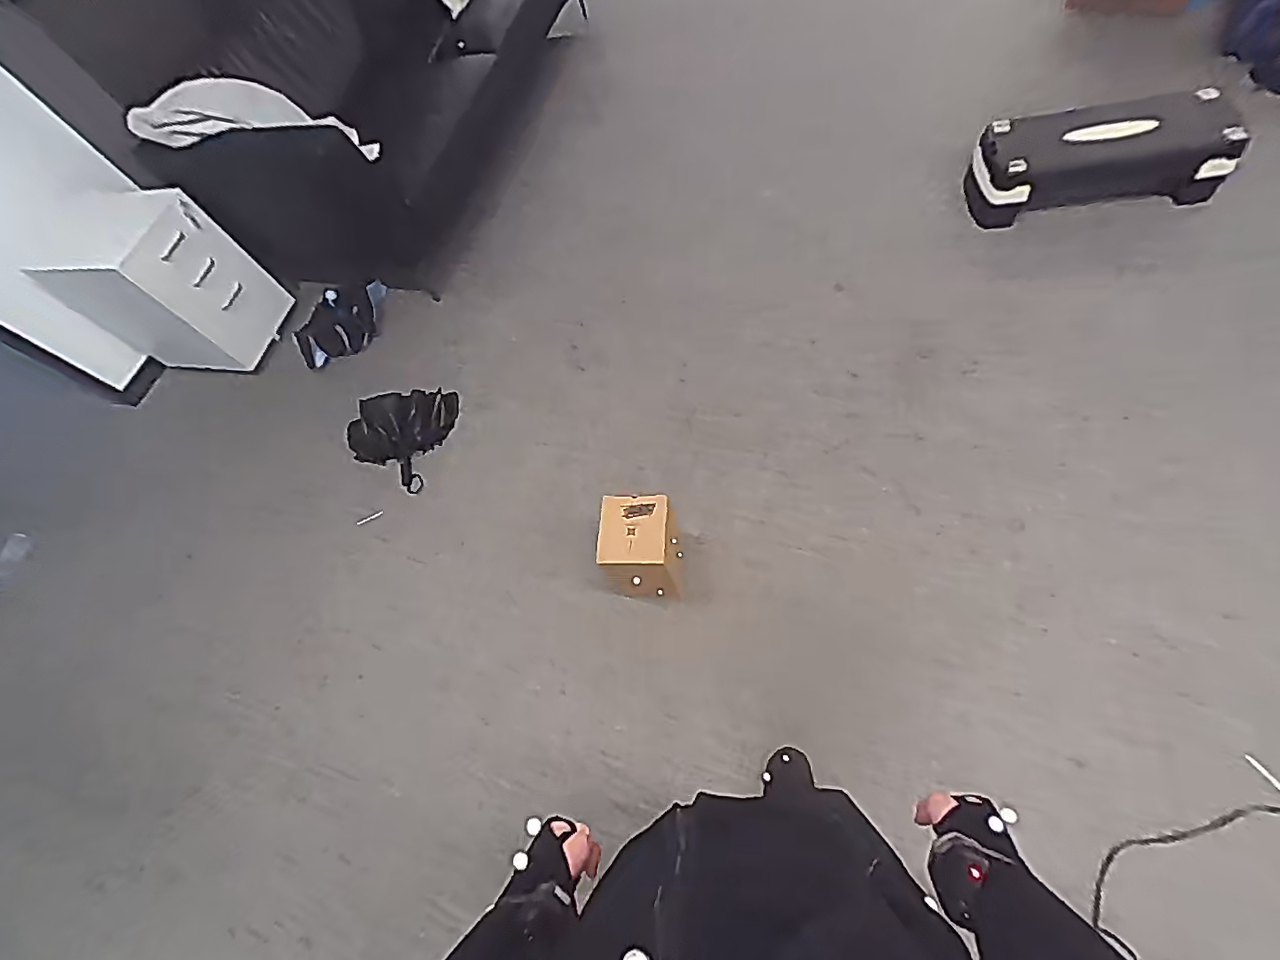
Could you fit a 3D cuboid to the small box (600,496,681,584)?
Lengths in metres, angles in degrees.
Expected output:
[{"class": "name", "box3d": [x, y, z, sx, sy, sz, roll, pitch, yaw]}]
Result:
[{"class": "small box", "box3d": [0.008, 0.152, 1.355, 0.168, 0.176, 0.179, -2, 65, 13]}]

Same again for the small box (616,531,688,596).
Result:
[{"class": "small box", "box3d": [0.040, 0.221, 1.501, 0.168, 0.176, 0.179, -3, 62, 12]}]
